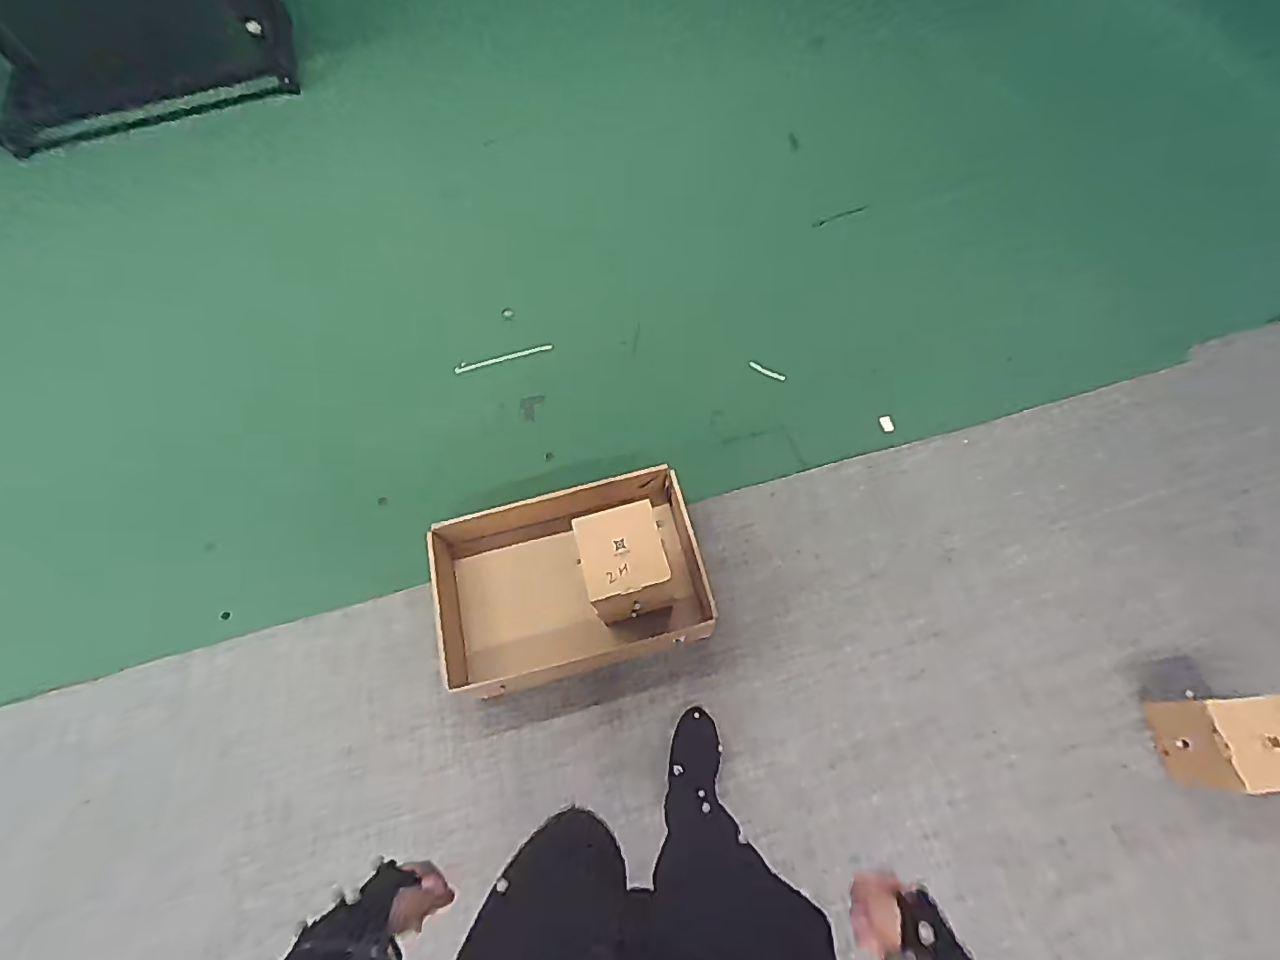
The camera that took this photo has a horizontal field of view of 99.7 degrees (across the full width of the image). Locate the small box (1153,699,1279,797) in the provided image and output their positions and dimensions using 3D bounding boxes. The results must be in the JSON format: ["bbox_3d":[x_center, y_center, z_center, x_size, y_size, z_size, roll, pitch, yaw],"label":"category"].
[{"bbox_3d":[1.220,0.546,1.109,0.179,0.176,0.168,-5,66,3],"label":"small box"}]

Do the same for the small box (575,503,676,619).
[{"bbox_3d":[-0.027,0.172,1.117,0.168,0.176,0.179,-15,67,-1],"label":"small box"}]
